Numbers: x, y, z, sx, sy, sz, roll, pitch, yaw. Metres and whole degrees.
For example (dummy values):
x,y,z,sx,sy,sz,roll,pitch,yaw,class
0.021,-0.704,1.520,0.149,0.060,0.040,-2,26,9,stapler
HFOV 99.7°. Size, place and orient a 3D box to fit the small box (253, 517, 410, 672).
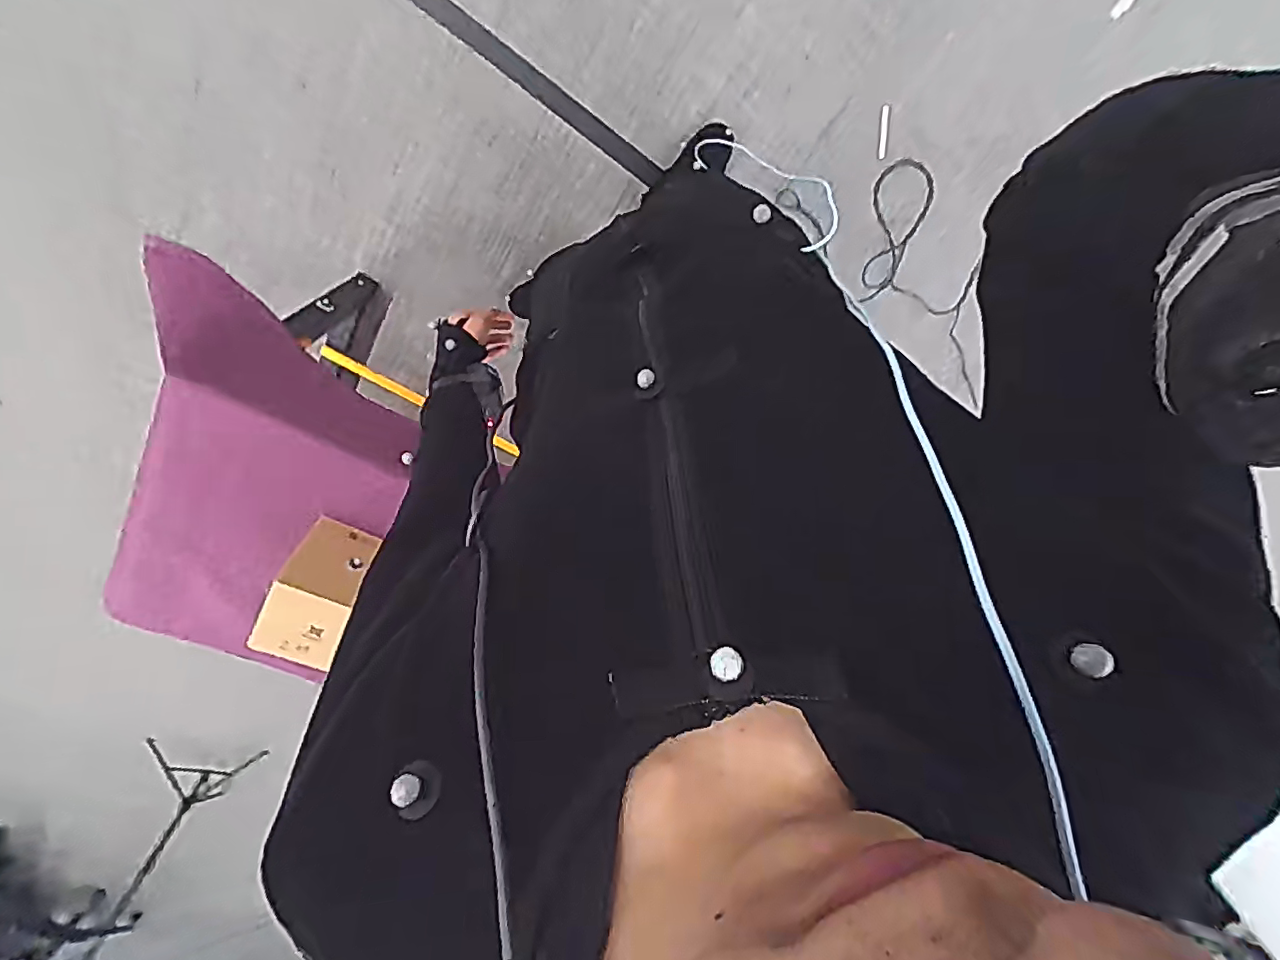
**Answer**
x,y,z,sx,sy,sz,roll,pitch,yaw,class
-0.527,0.195,0.946,0.168,0.176,0.179,28,118,-20,small box
